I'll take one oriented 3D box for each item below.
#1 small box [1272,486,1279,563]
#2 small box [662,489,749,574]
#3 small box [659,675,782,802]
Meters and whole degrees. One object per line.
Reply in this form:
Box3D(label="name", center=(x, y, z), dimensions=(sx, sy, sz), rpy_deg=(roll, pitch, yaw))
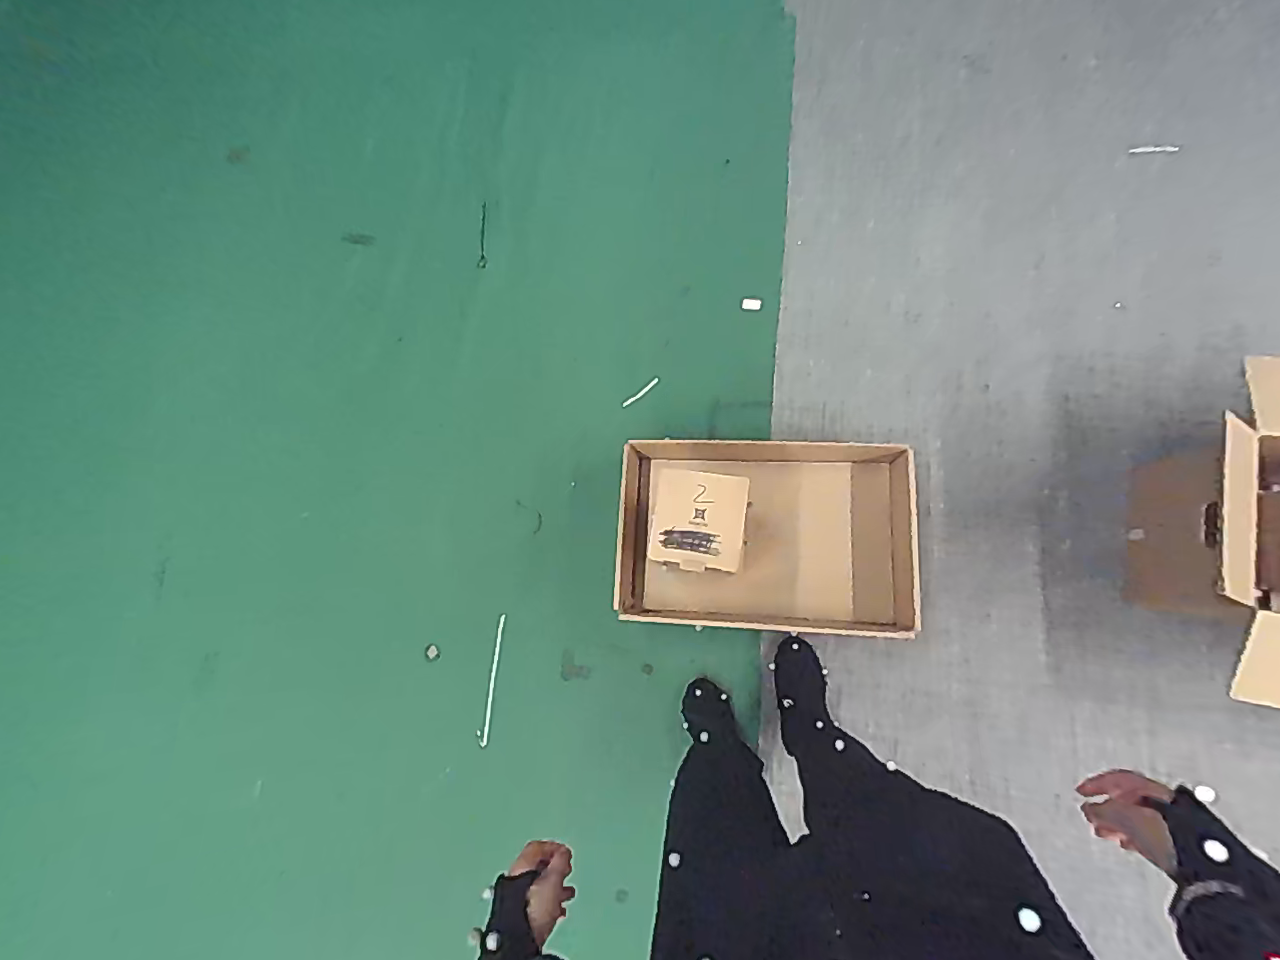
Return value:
Box3D(label="small box", center=(1.228, 0.083, 0.900), dimensions=(0.168, 0.176, 0.179), rpy_deg=(1, 79, 13))
Box3D(label="small box", center=(0.152, 0.120, 1.216), dimensions=(0.179, 0.176, 0.168), rpy_deg=(3, 78, 9))
Box3D(label="small box", center=(0.175, 0.541, 1.147), dimensions=(0.176, 0.168, 0.179), rpy_deg=(37, 59, -5))
